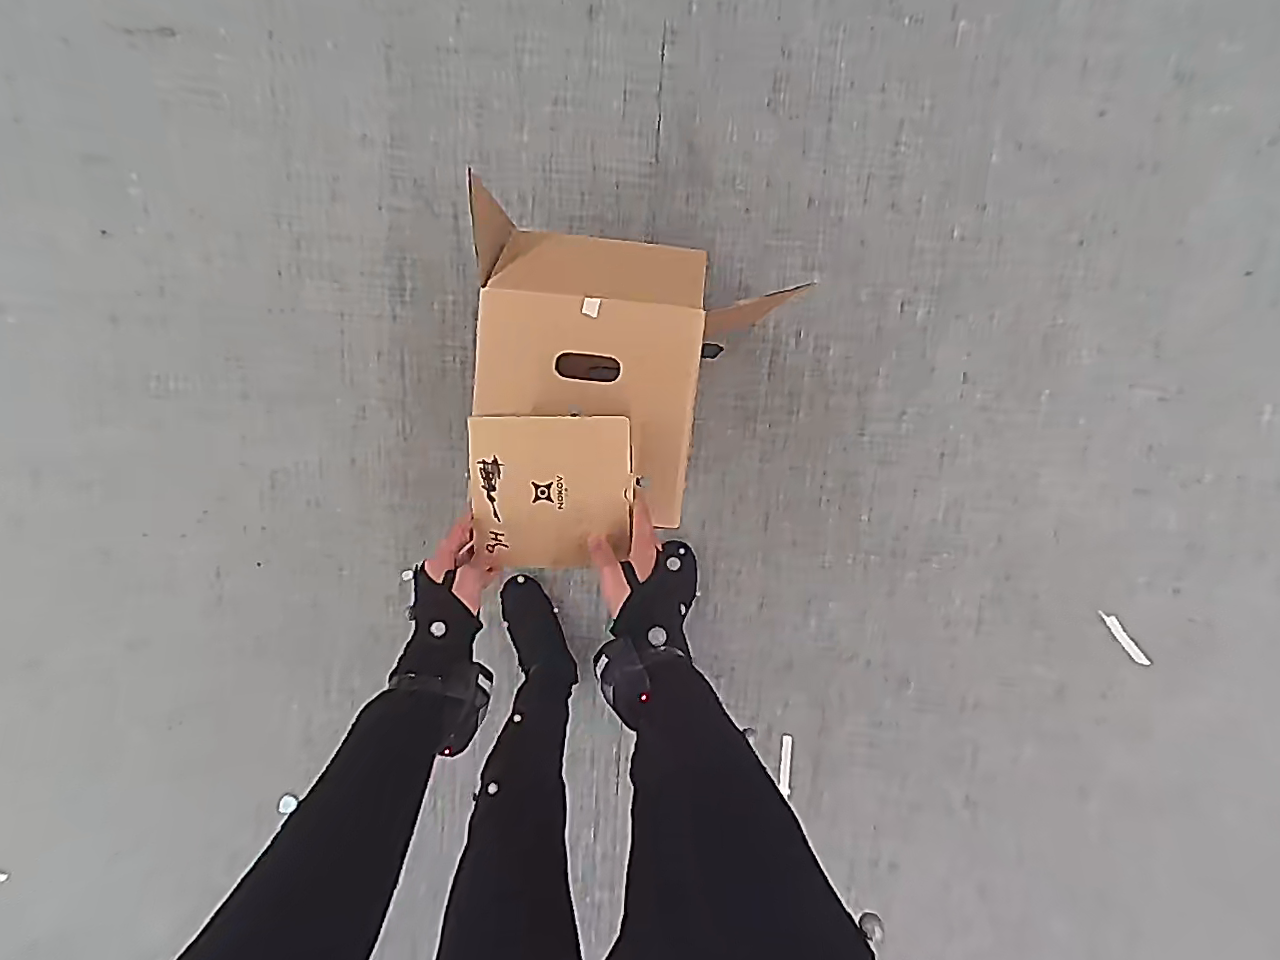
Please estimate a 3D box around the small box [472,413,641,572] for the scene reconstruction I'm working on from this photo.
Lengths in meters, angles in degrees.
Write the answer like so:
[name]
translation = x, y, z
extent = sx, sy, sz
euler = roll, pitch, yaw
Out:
[small box]
translation = -0.088, 0.005, 0.652
extent = 0.179, 0.176, 0.168
euler = 1, 98, 2
